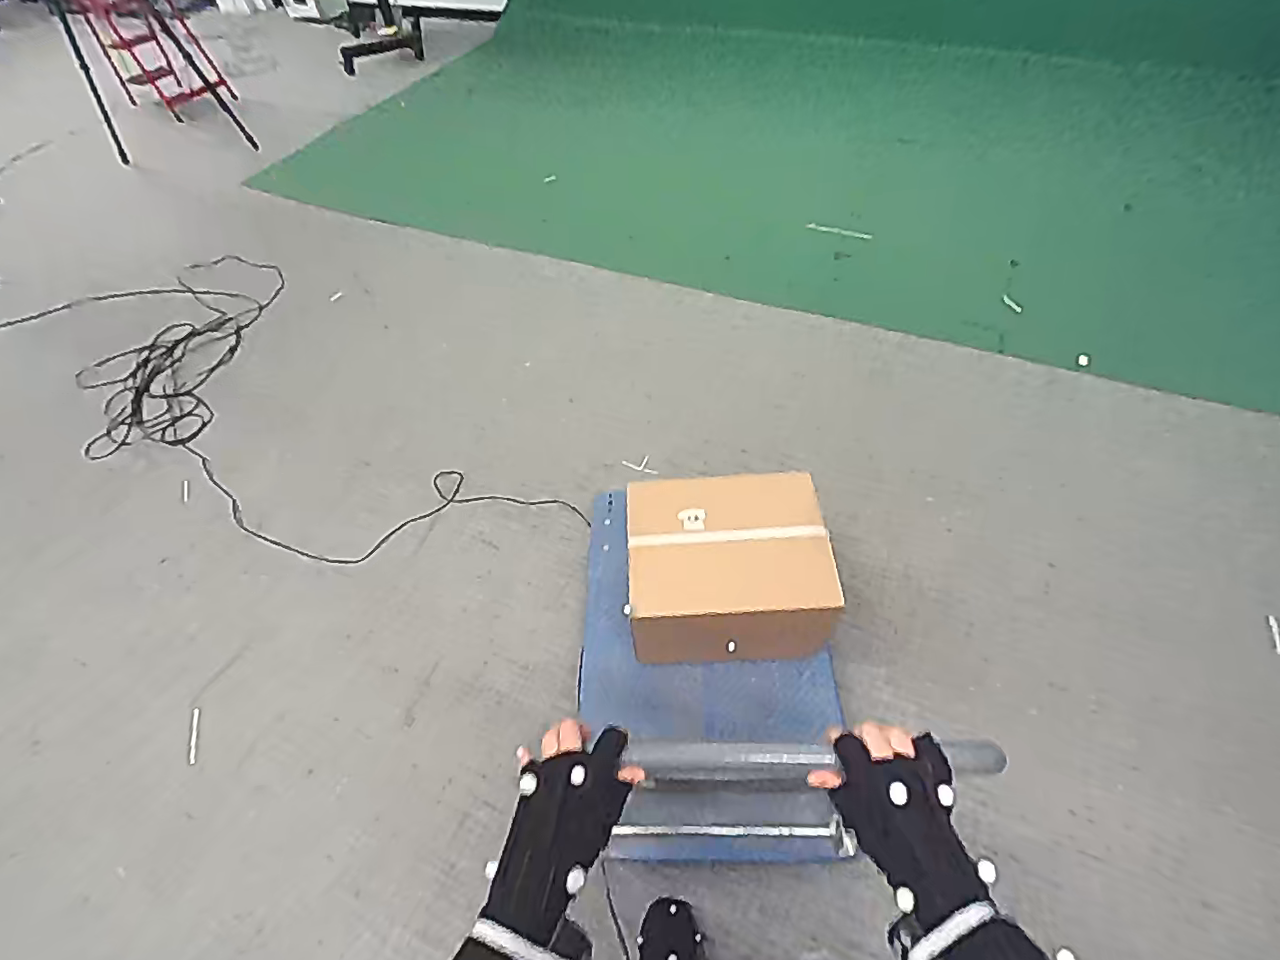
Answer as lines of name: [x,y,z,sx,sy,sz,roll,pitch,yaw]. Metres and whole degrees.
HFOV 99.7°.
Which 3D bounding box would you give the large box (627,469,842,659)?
large box: [0.189,0.201,1.231,0.408,0.320,0.320,-5,54,2]
